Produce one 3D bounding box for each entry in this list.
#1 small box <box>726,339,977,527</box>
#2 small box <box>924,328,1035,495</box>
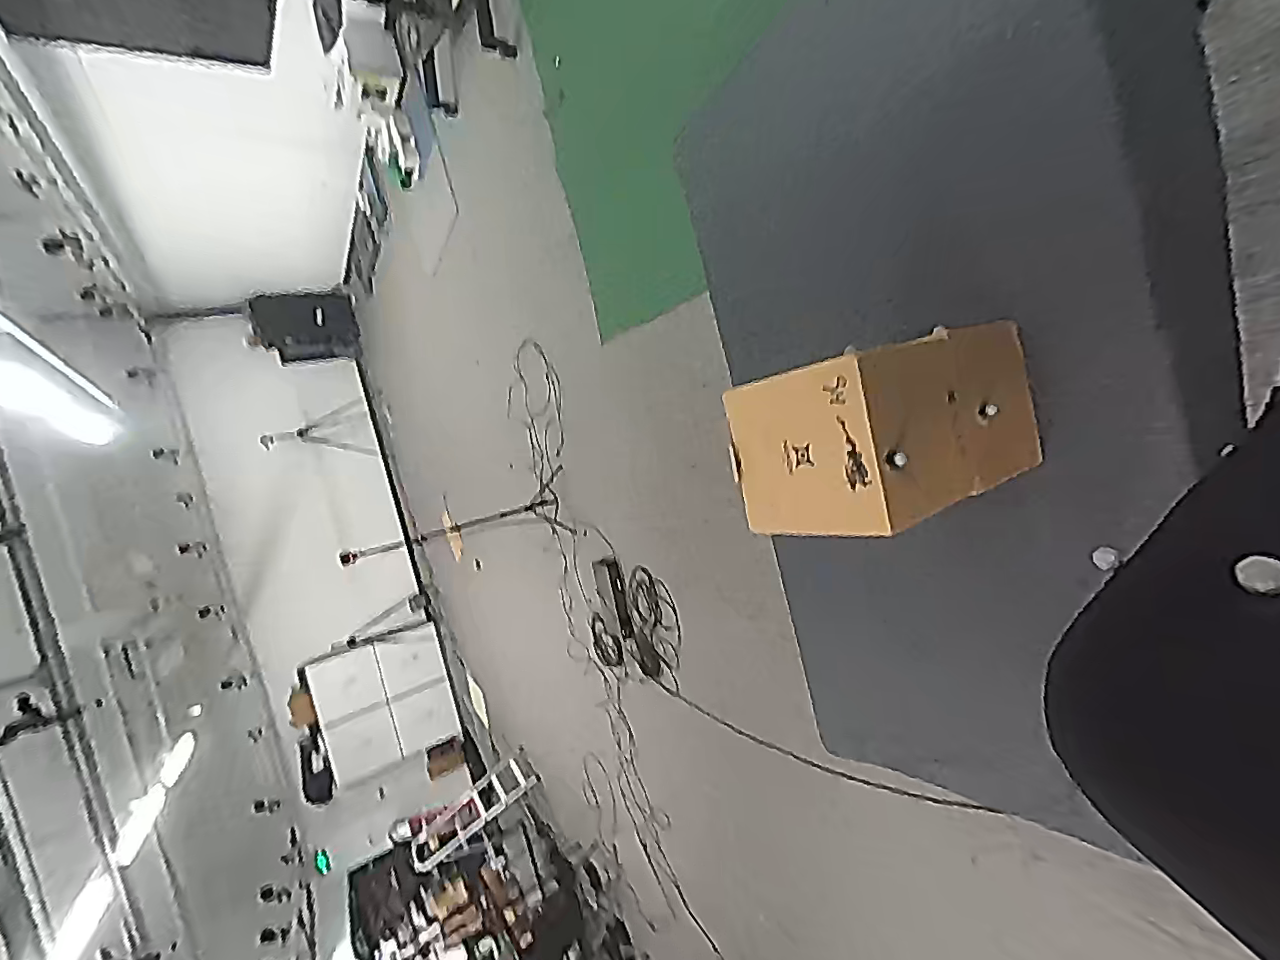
[{"bbox_3d":[0.226,-0.047,0.593,0.179,0.176,0.168,-13,91,56],"label":"small box"},{"bbox_3d":[0.360,-0.080,0.678,0.168,0.176,0.179,-10,93,57],"label":"small box"}]
